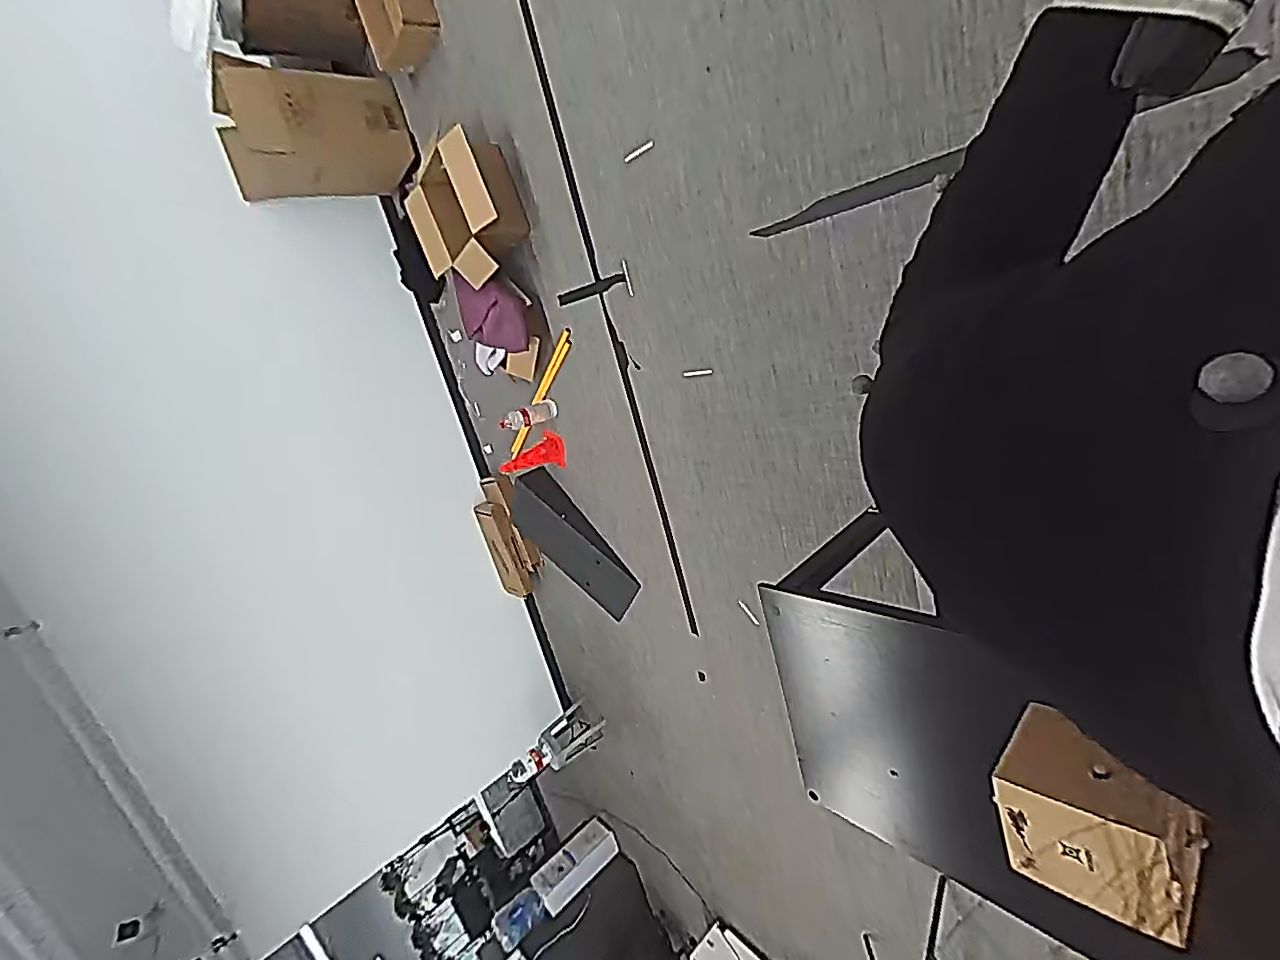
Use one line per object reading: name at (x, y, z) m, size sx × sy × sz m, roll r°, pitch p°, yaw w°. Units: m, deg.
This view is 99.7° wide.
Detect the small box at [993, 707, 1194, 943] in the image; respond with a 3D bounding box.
small box at (0.609, 0.437, 0.722) m, size 0.179 × 0.176 × 0.168 m, roll -2°, pitch 110°, yaw 52°
